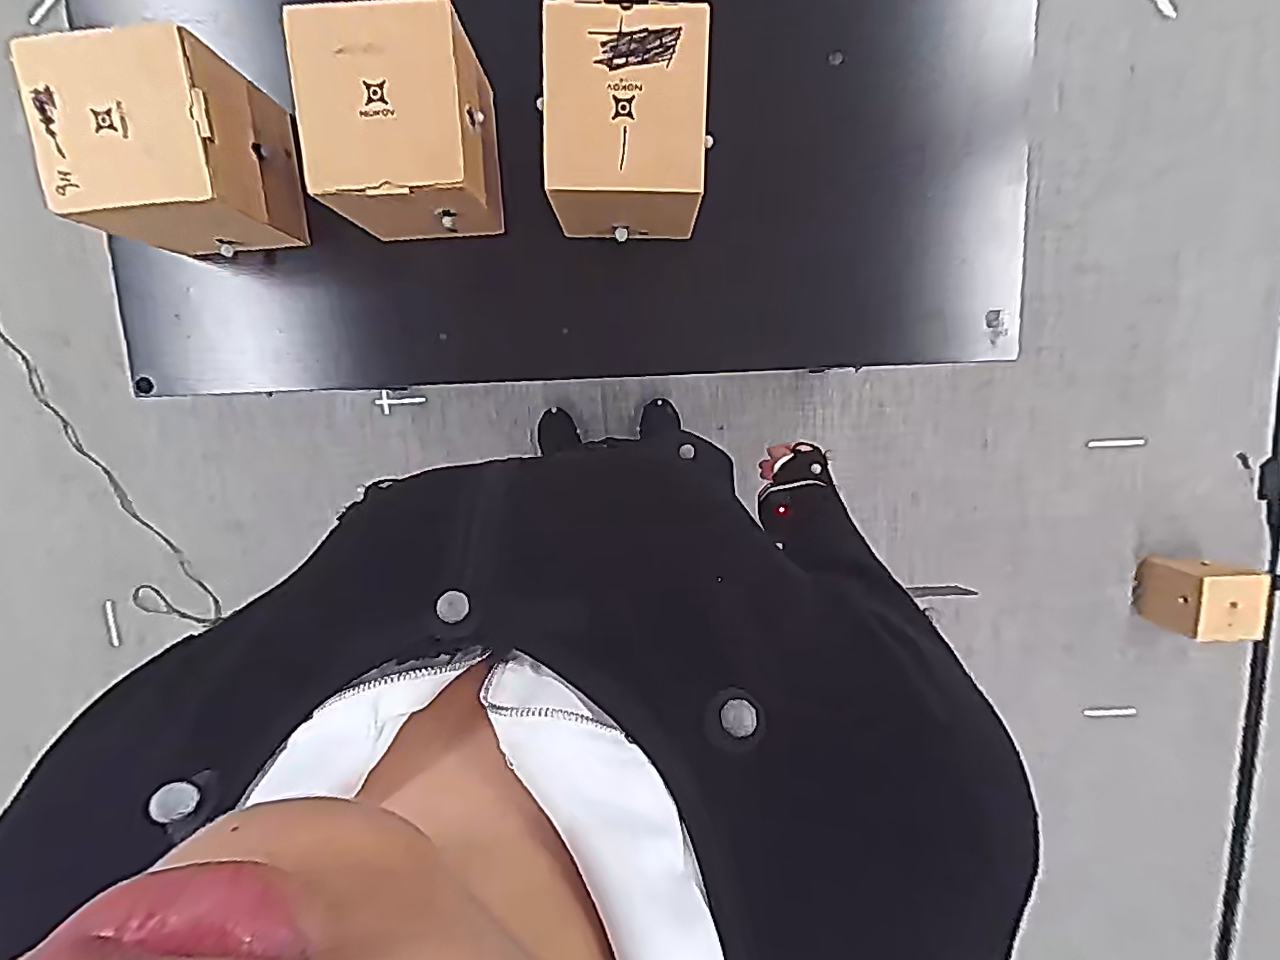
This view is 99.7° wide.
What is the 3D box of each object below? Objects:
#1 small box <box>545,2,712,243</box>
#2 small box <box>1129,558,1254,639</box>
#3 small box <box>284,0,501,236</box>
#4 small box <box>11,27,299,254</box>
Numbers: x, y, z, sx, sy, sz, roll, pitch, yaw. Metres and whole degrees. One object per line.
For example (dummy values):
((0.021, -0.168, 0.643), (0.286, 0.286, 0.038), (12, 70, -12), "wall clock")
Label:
((-0.015, -0.391, 0.622), (0.168, 0.176, 0.179), (1, 99, -1), "small box")
((1.487, 0.314, 1.470), (0.168, 0.176, 0.179), (-2, 99, 1), "small box")
((-0.265, -0.393, 0.622), (0.168, 0.176, 0.179), (-4, 97, 0), "small box")
((-0.526, -0.371, 0.621), (0.179, 0.176, 0.168), (-5, 98, -1), "small box")
